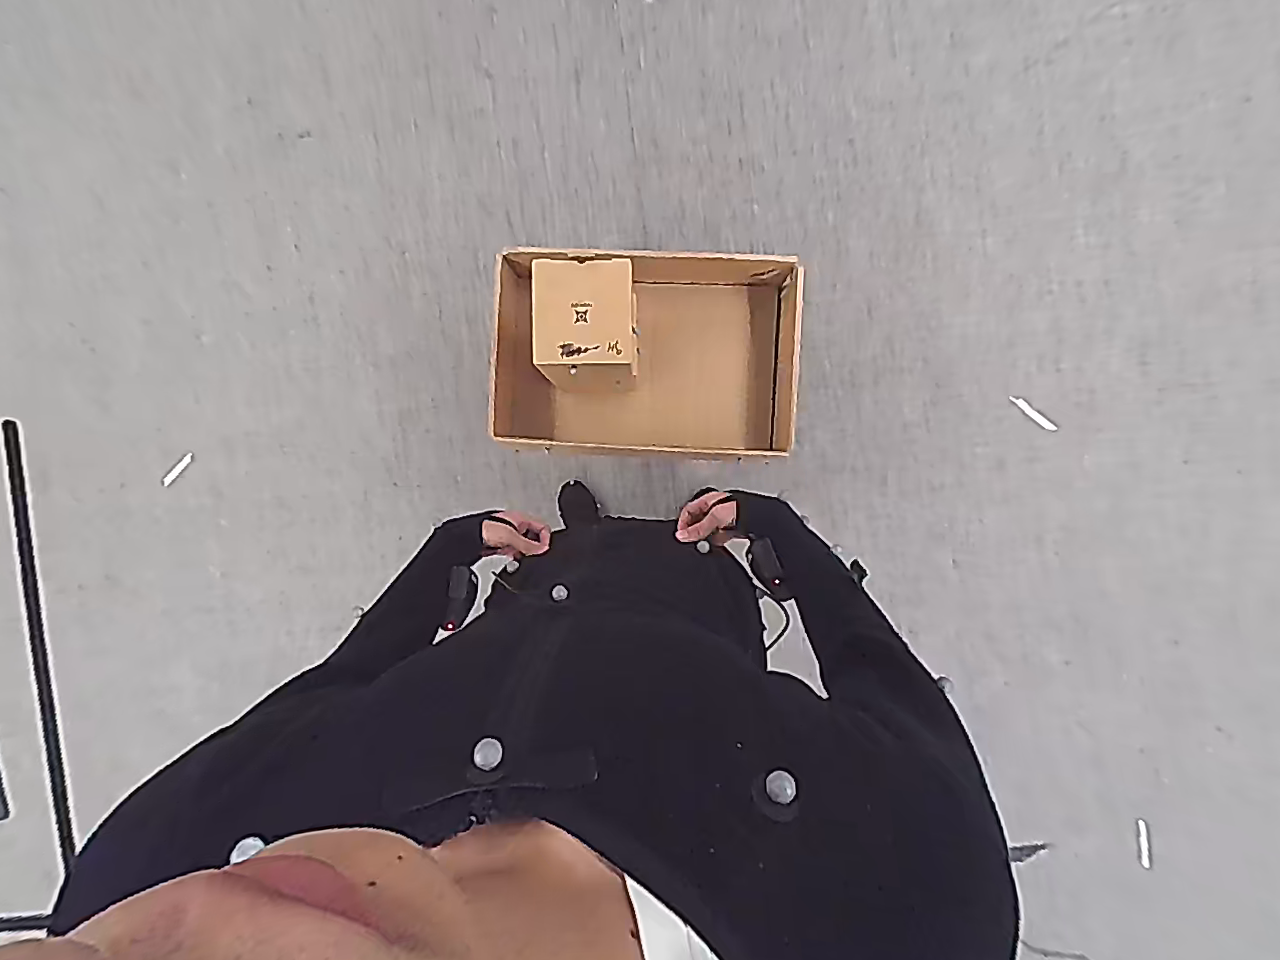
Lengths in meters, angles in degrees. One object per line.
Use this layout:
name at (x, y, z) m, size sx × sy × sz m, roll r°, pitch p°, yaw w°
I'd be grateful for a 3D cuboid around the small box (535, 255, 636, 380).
small box at (-0.092, -0.282, 0.968) m, size 0.168 × 0.176 × 0.179 m, roll 0°, pitch 91°, yaw 0°
